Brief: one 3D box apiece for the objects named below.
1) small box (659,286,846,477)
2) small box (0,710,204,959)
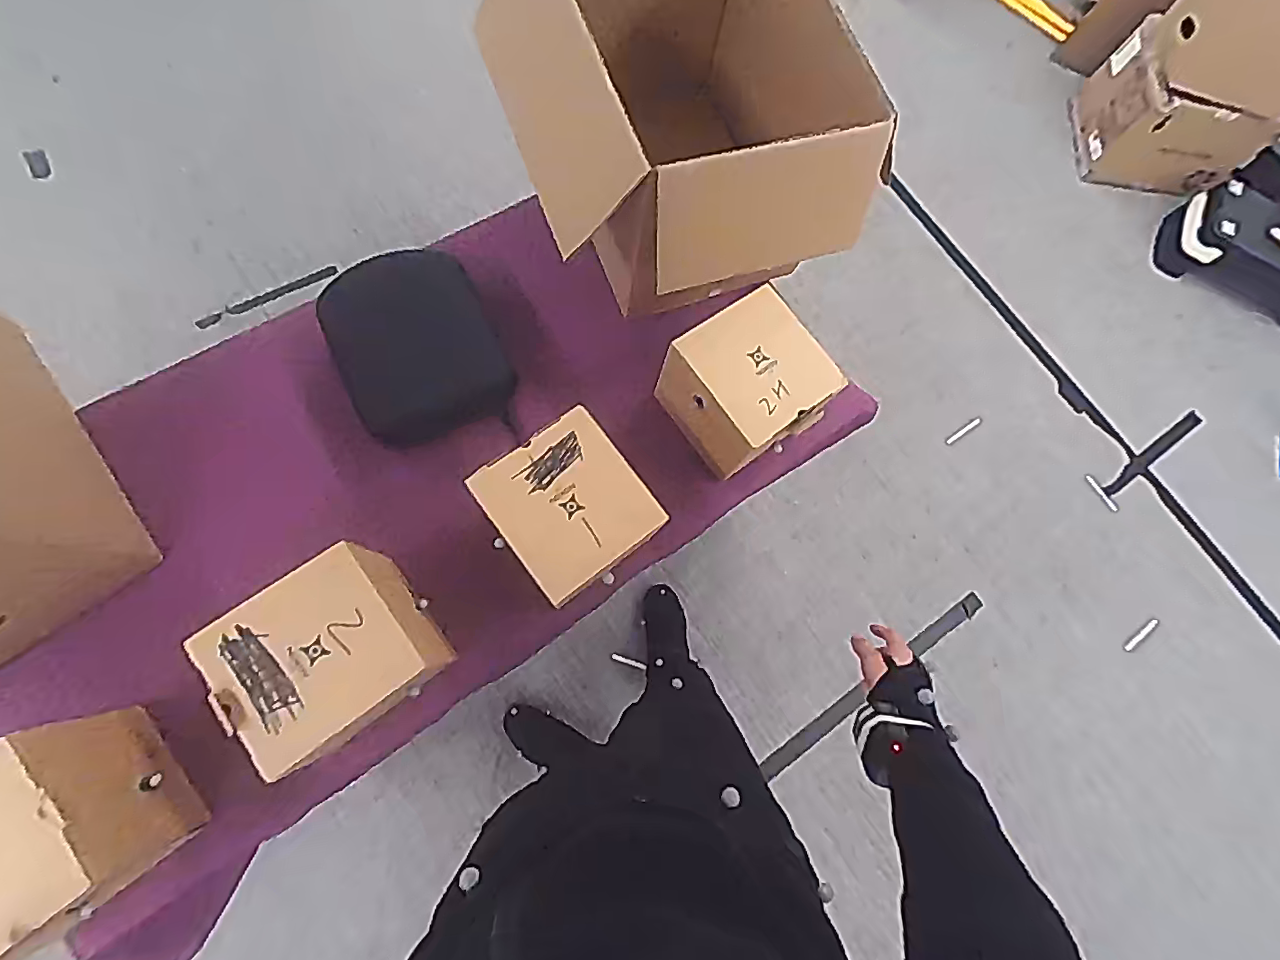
[{"bbox_3d":[0.144,-0.129,0.766,0.168,0.176,0.179,-34,82,-13],"label":"small box"},{"bbox_3d":[-0.612,0.365,0.549,0.179,0.176,0.168,-37,83,-16],"label":"small box"}]
